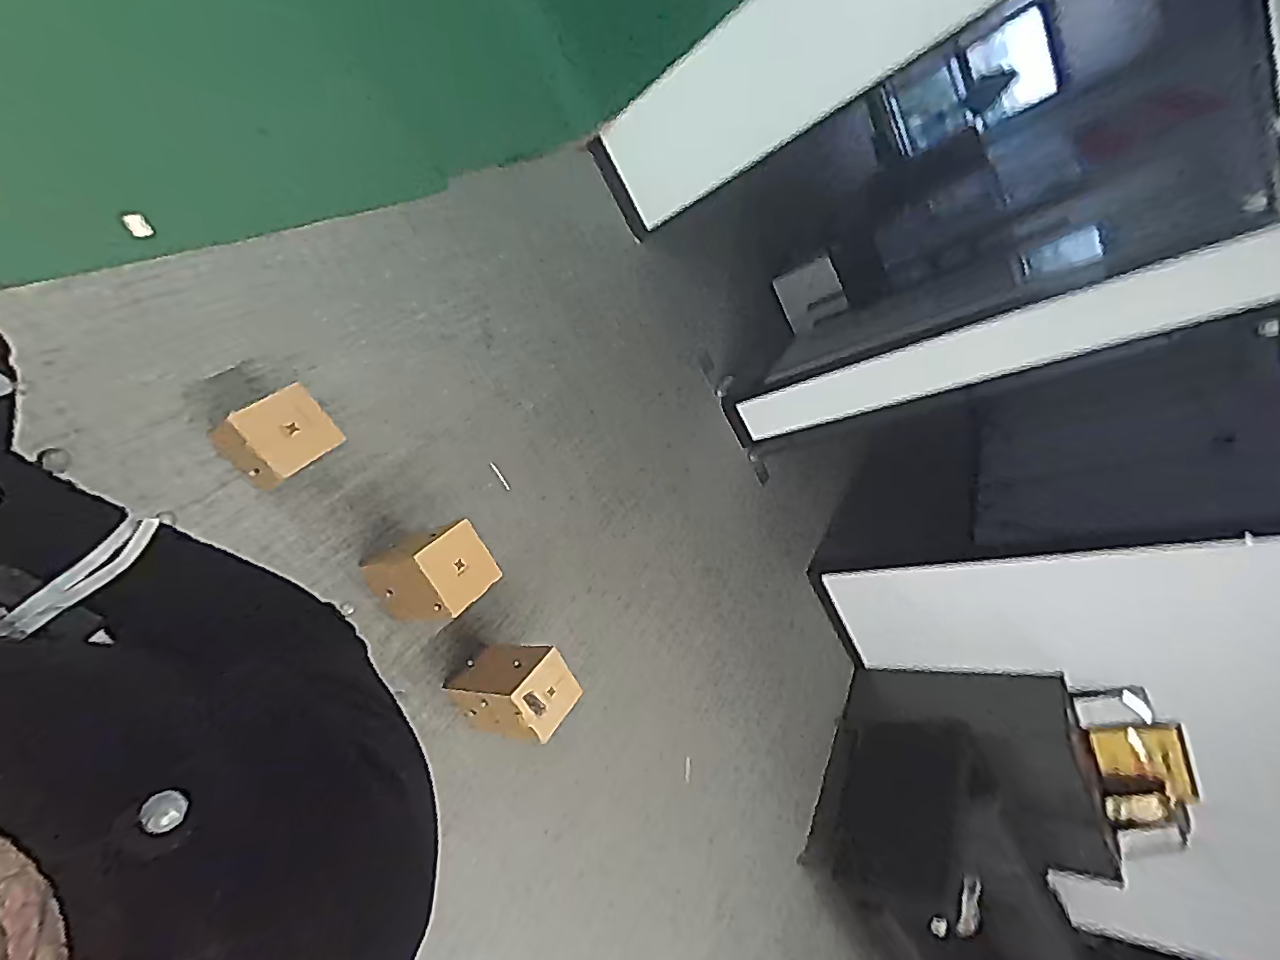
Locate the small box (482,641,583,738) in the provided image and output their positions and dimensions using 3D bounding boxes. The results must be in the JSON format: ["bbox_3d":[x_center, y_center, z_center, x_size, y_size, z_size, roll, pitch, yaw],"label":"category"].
[{"bbox_3d":[-0.292,0.549,1.436,0.179,0.176,0.168,-44,112,-46],"label":"small box"}]

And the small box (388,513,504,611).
[{"bbox_3d":[-0.478,0.206,1.325,0.168,0.176,0.179,-44,112,-46],"label":"small box"}]

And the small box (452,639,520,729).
[{"bbox_3d":[-0.410,0.578,1.548,0.179,0.176,0.168,-45,113,-44],"label":"small box"}]

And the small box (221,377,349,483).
[{"bbox_3d":[-0.834,-0.111,1.263,0.168,0.176,0.179,59,43,-20],"label":"small box"}]
